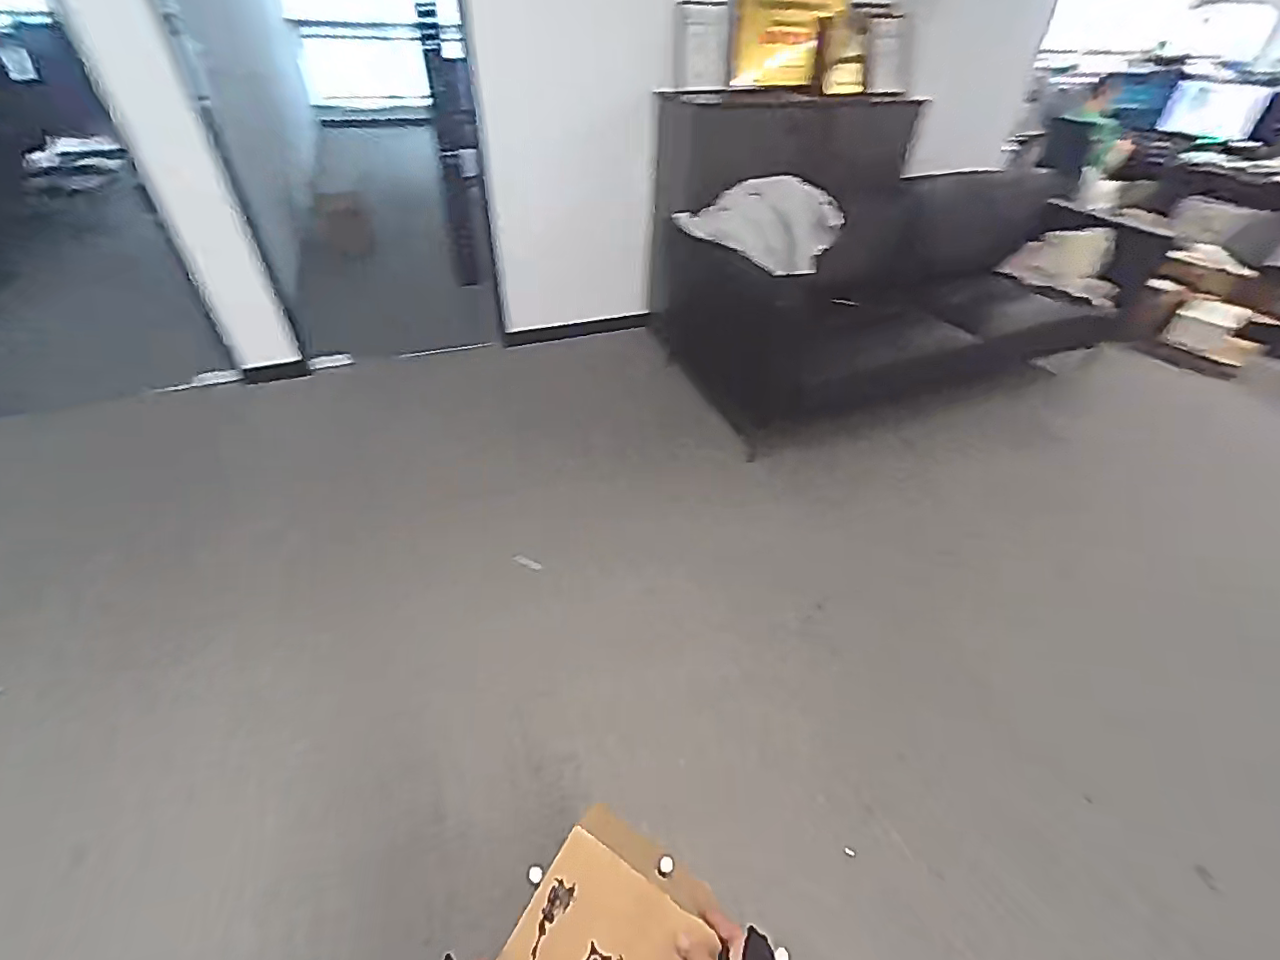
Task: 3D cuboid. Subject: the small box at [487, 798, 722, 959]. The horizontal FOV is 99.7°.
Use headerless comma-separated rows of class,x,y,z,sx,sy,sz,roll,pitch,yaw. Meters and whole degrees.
small box,-0.036,0.470,0.574,0.179,0.176,0.168,29,71,13
